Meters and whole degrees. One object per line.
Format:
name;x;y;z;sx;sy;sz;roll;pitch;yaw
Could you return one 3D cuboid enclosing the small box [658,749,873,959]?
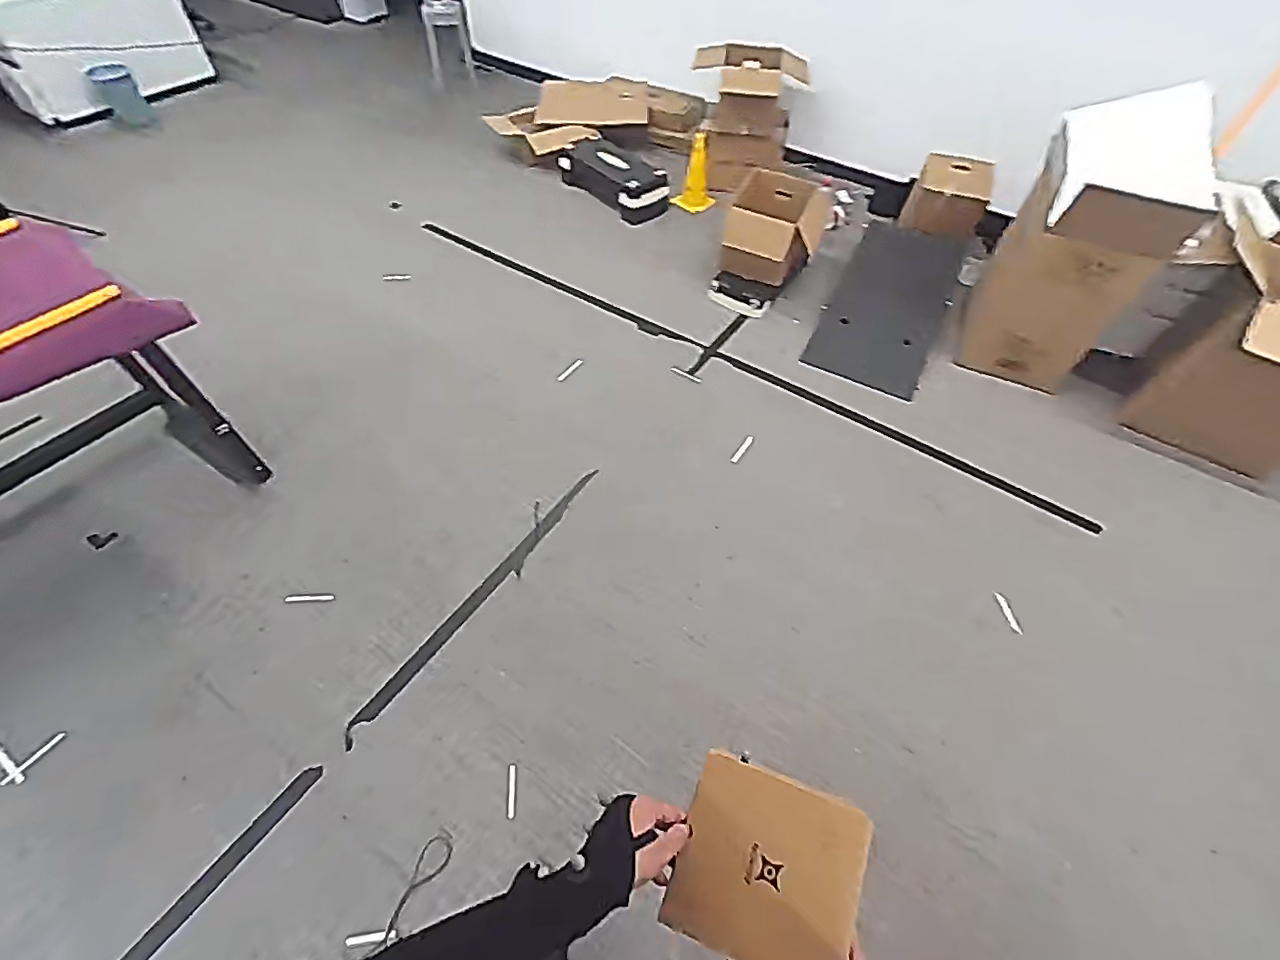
small box;0.142;0.415;0.603;0.179;0.176;0.168;13;68;21
